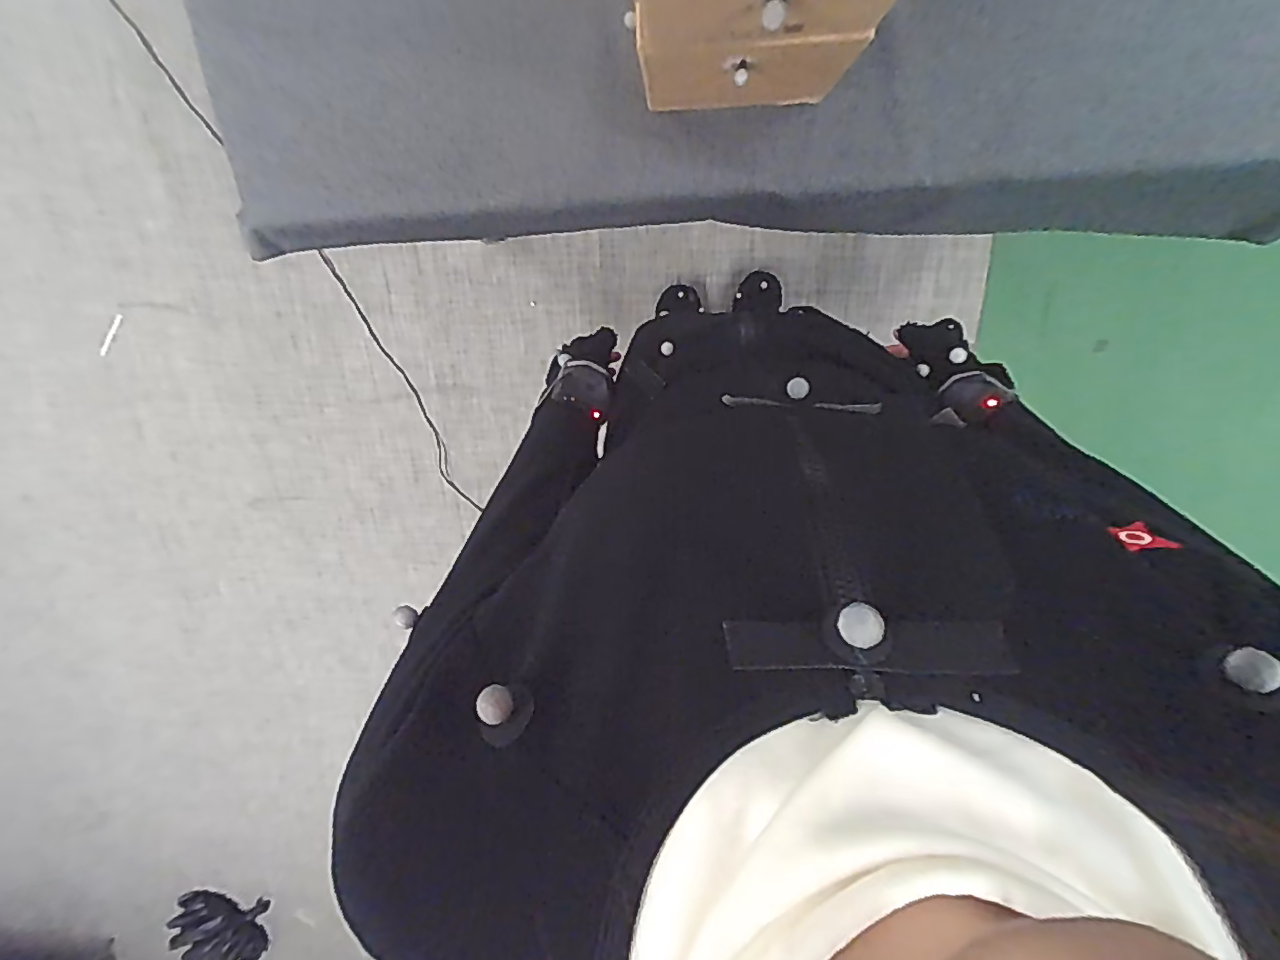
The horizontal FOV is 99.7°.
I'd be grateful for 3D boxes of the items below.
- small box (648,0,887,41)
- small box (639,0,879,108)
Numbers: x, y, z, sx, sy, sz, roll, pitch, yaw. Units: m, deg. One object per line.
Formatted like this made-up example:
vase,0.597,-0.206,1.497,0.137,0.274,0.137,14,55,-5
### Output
small box,0.079,-0.373,0.295,0.168,0.176,0.179,-2,112,6
small box,0.090,-0.428,0.448,0.179,0.176,0.168,-1,112,4
